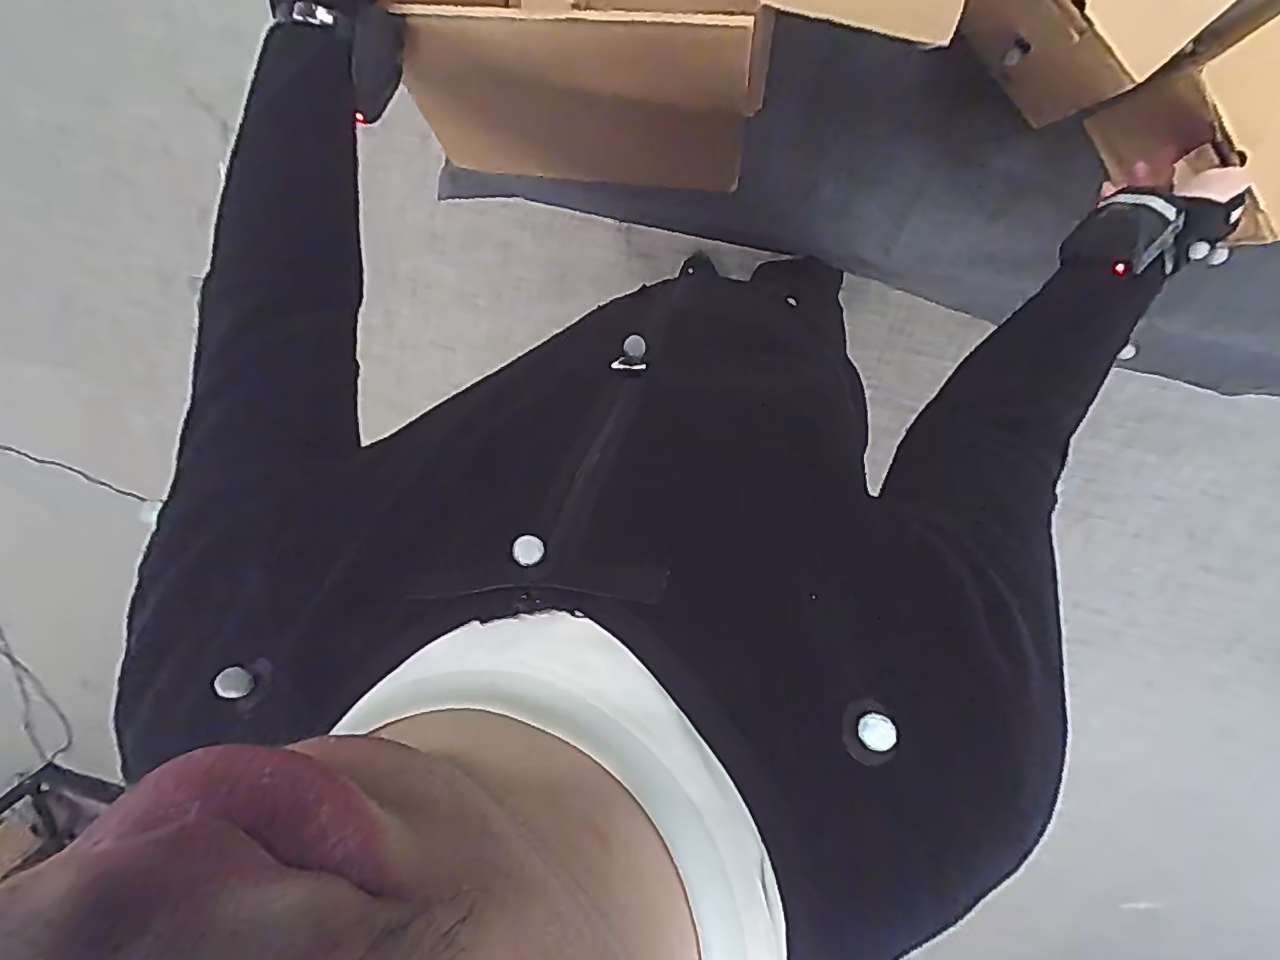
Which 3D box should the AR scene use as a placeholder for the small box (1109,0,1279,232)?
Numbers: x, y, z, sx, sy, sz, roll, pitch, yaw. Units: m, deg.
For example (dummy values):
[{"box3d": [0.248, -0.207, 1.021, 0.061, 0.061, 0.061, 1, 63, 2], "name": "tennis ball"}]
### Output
[{"box3d": [0.581, -0.347, 0.488, 0.179, 0.176, 0.168, -35, 103, 22], "name": "small box"}]
